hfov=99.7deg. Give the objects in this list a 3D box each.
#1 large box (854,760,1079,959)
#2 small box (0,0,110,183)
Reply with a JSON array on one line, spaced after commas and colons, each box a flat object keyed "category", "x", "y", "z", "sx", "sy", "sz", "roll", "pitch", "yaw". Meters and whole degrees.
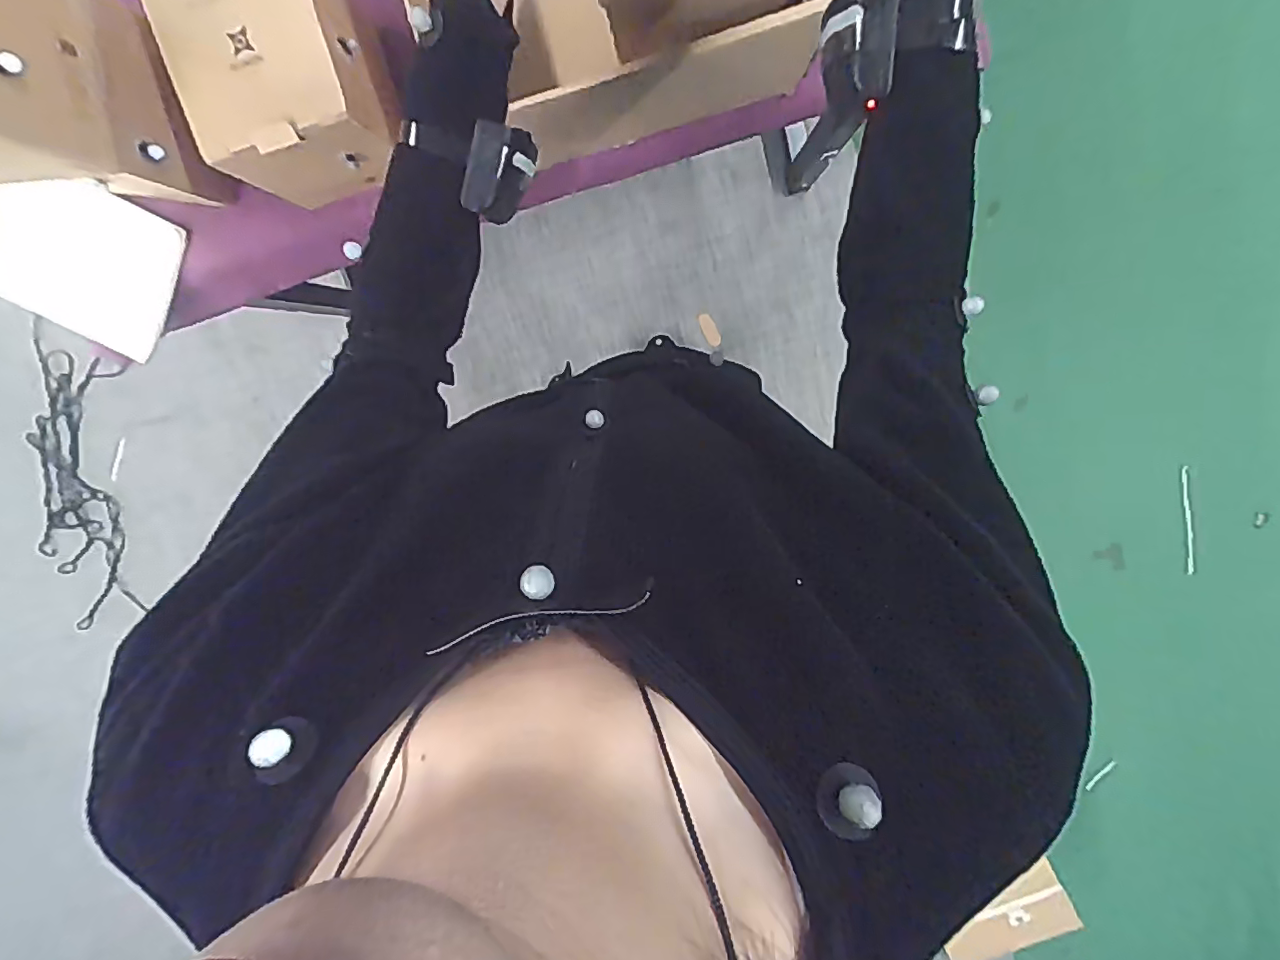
[{"category": "large box", "x": 0.910, "y": 1.105, "z": 1.561, "sx": 0.408, "sy": 0.320, "sz": 0.320, "roll": -30, "pitch": 100, "yaw": 8}, {"category": "small box", "x": -0.624, "y": -0.375, "z": 0.471, "sx": 0.179, "sy": 0.176, "sz": 0.168, "roll": -1, "pitch": 103, "yaw": 4}]
